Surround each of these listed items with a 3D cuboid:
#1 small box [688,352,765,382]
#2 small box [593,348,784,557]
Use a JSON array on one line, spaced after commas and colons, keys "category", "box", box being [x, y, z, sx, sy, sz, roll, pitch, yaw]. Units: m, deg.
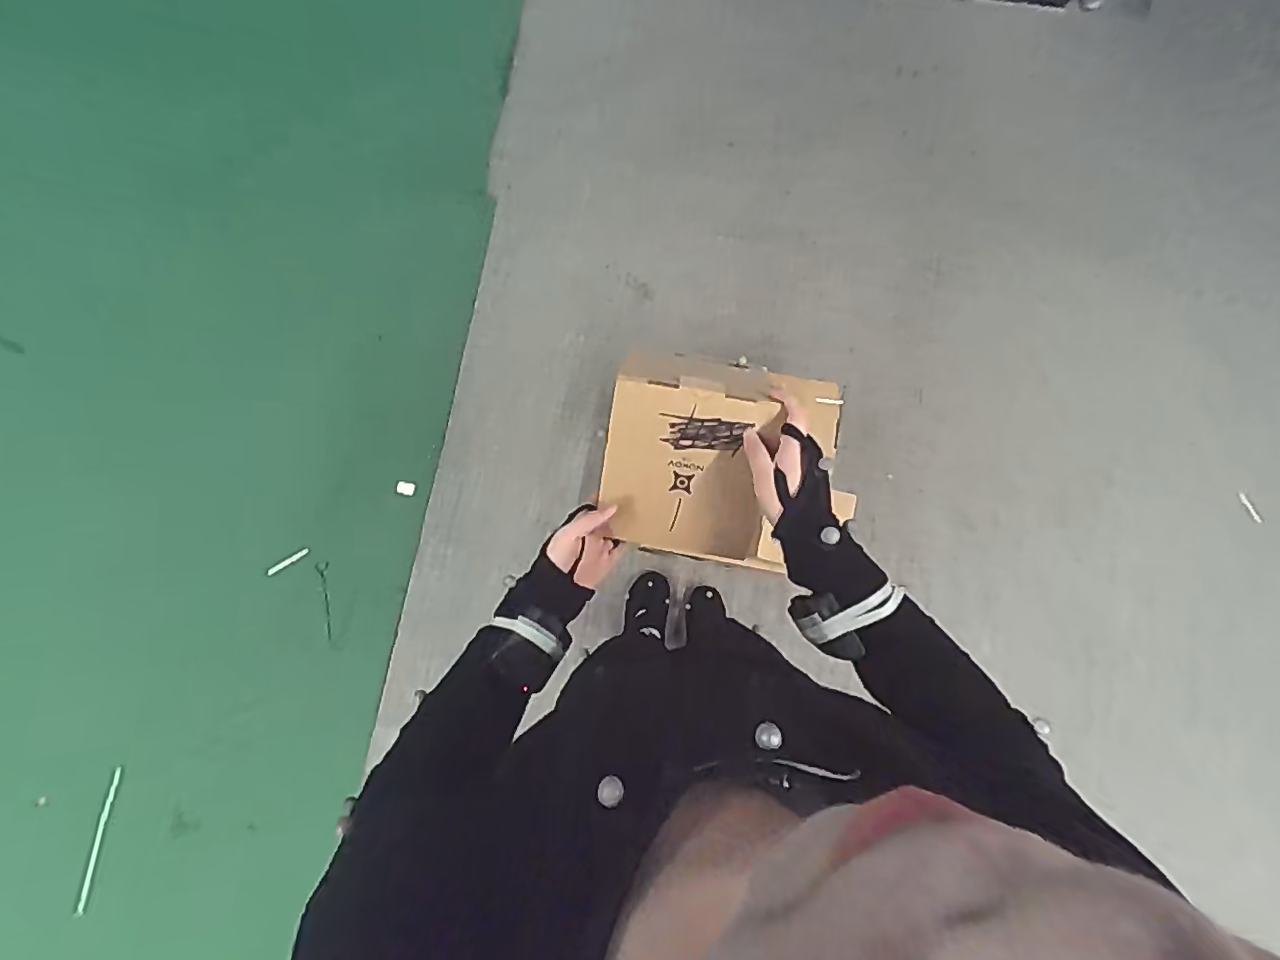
[{"category": "small box", "box": [0.159, -0.149, 1.163, 0.168, 0.176, 0.179, 11, 80, 2]}, {"category": "small box", "box": [0.046, -0.041, 0.610, 0.168, 0.176, 0.179, 9, 115, -1]}]
